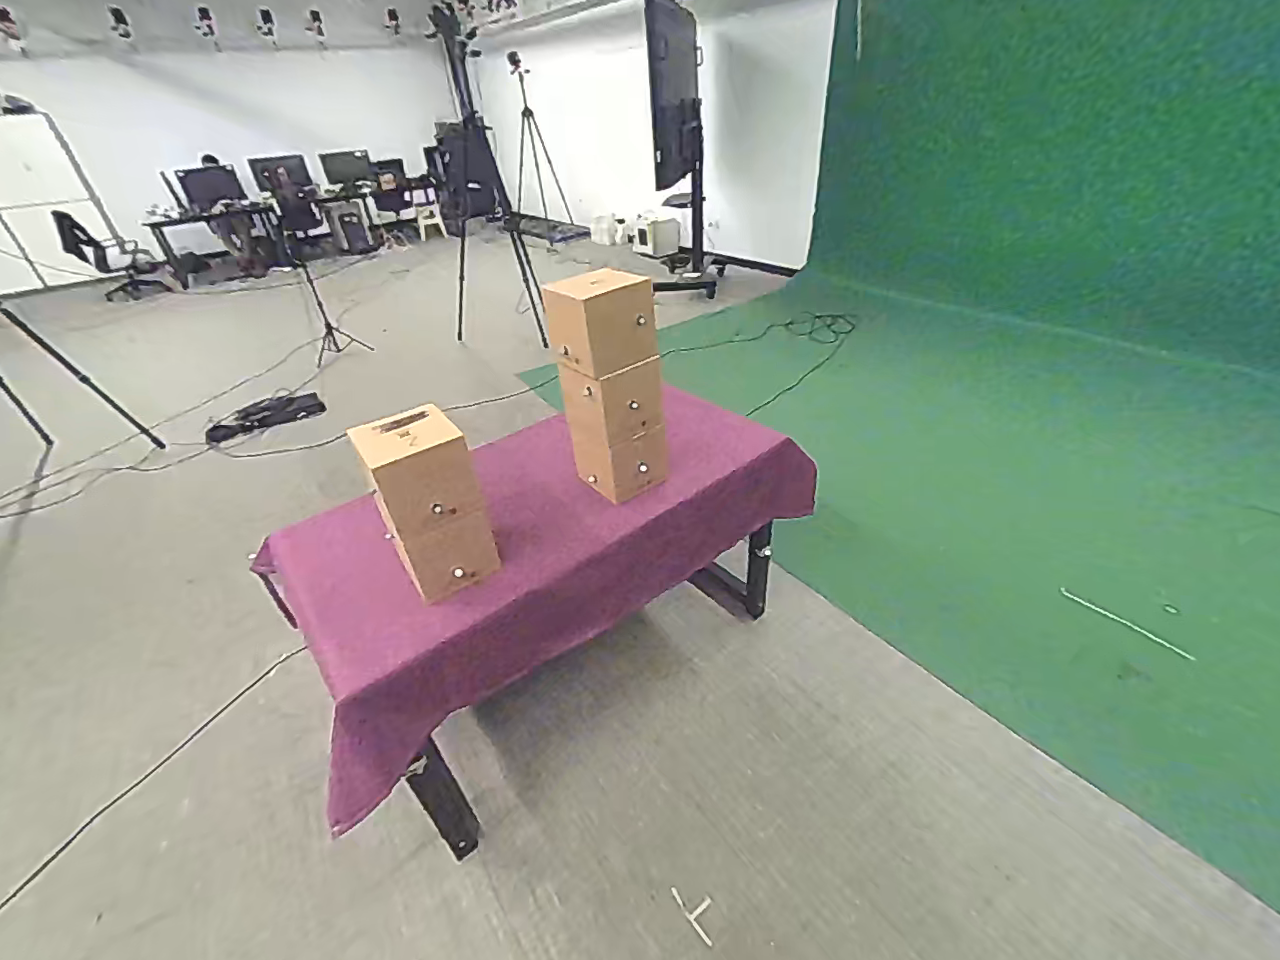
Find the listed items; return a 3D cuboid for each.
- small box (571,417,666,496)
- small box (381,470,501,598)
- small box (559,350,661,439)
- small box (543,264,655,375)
[{"bbox_3d":[-0.048,-0.080,1.349,0.168,0.176,0.179,-27,42,-28],"label":"small box"},{"bbox_3d":[-0.411,0.111,1.127,0.168,0.176,0.179,-26,42,-27],"label":"small box"},{"bbox_3d":[-0.064,-0.213,1.252,0.168,0.176,0.179,-28,41,-29],"label":"small box"},{"bbox_3d":[-0.082,-0.346,1.158,0.179,0.176,0.168,-29,40,-28],"label":"small box"}]
